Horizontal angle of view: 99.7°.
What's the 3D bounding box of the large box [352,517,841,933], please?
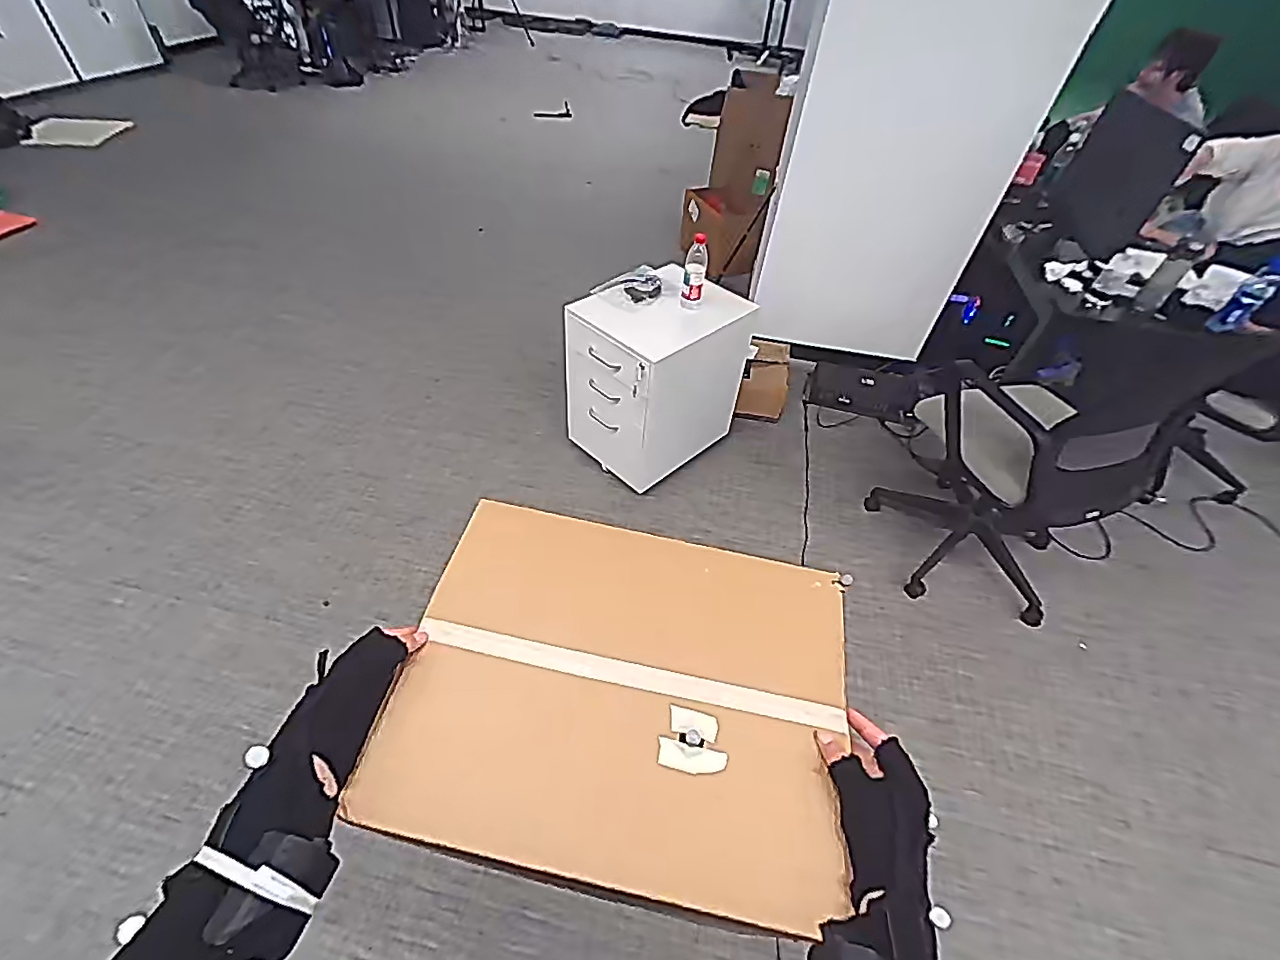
[{"bbox_3d":[-0.026,0.286,0.631,0.408,0.320,0.320,12,52,3],"label":"large box"}]
